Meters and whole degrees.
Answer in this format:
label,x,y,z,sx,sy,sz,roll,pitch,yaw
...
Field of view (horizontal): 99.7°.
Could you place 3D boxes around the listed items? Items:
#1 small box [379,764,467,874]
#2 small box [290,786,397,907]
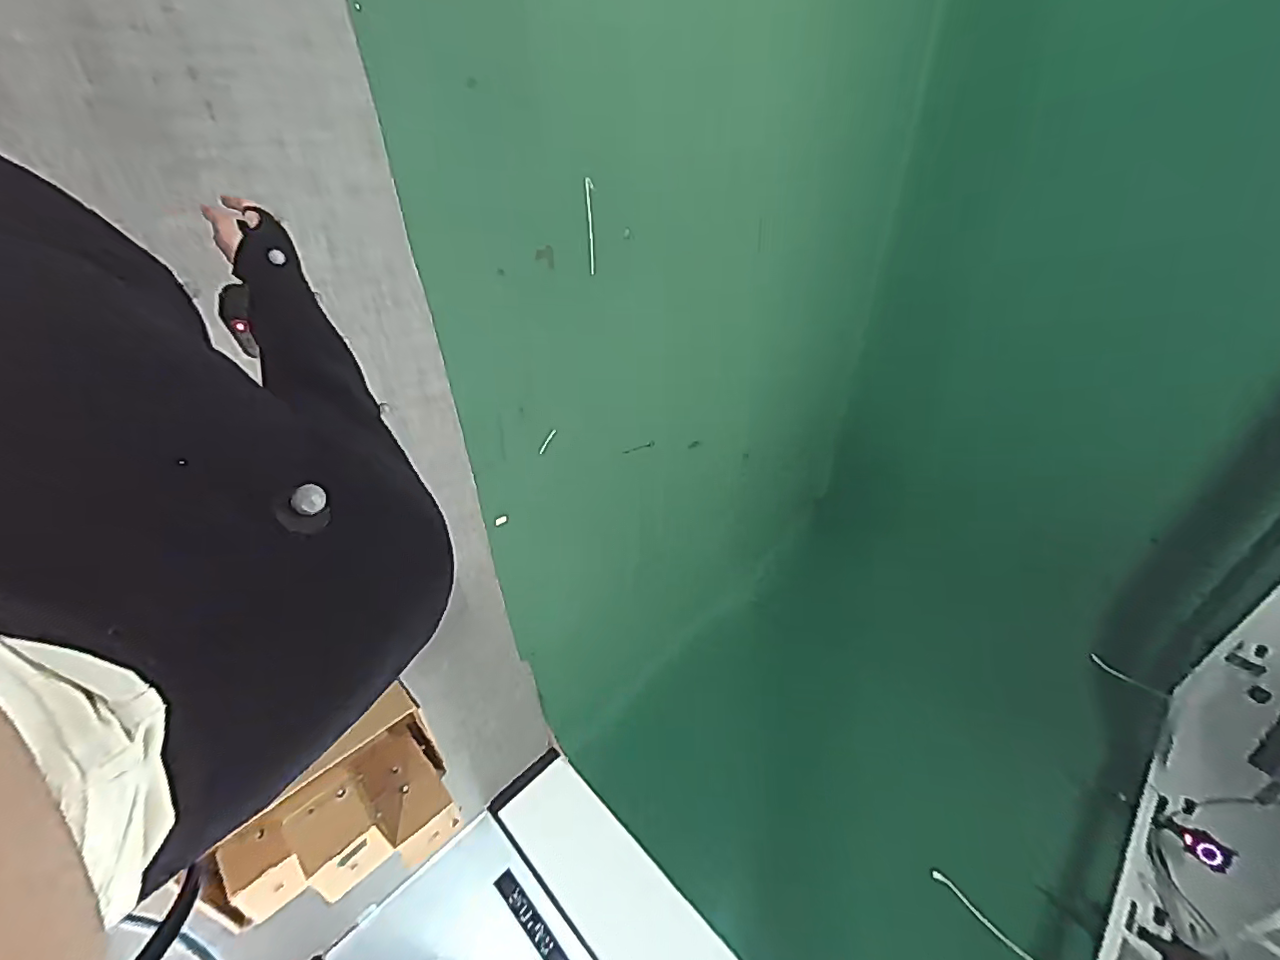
label,x,y,z,sx,sy,sz,roll,pitch,yaw
small box,-0.637,0.985,1.580,0.179,0.176,0.168,-30,134,-33
small box,-0.762,0.931,1.390,0.168,0.176,0.179,-31,136,-32
